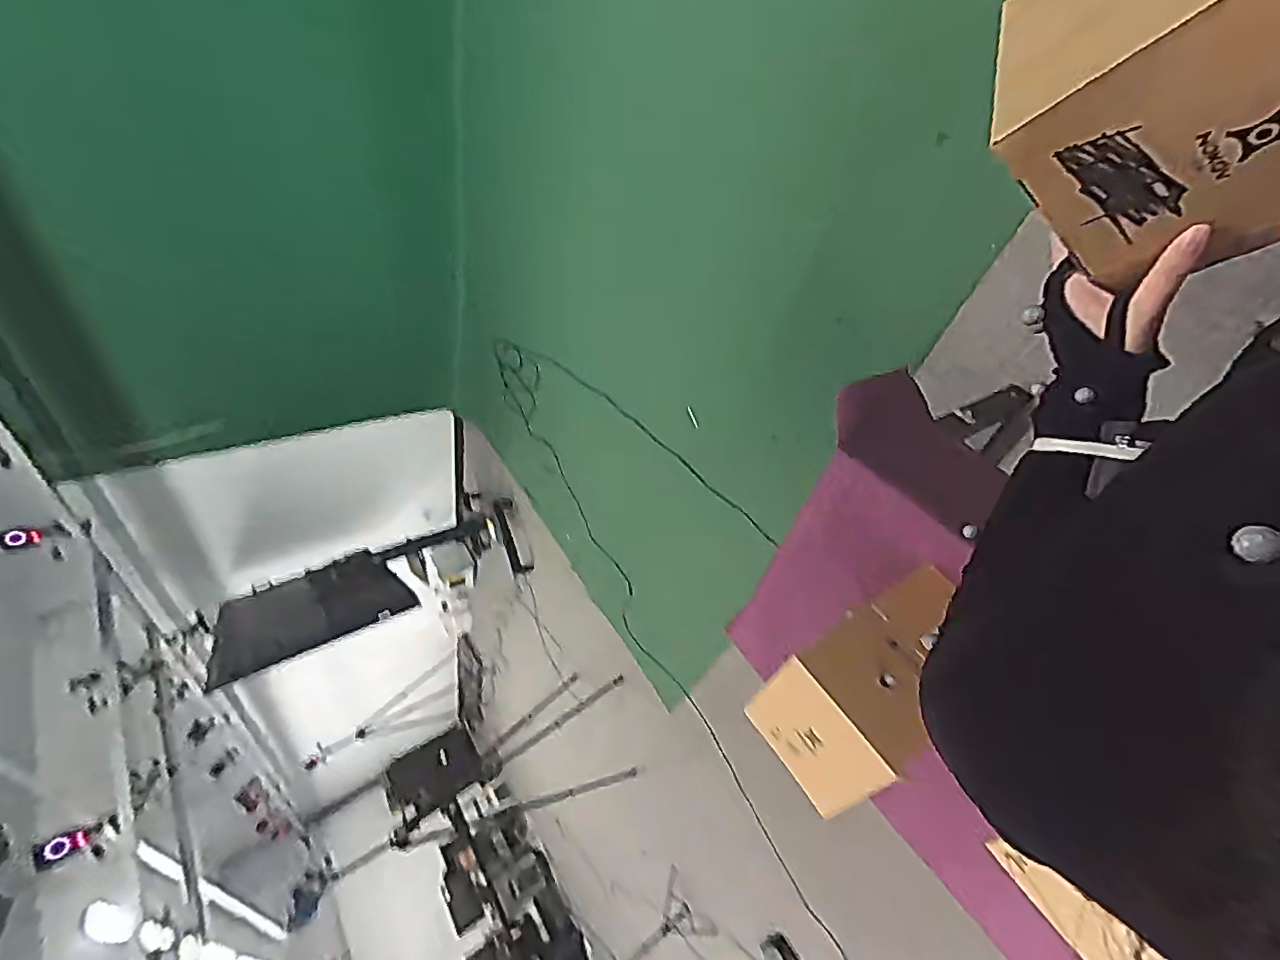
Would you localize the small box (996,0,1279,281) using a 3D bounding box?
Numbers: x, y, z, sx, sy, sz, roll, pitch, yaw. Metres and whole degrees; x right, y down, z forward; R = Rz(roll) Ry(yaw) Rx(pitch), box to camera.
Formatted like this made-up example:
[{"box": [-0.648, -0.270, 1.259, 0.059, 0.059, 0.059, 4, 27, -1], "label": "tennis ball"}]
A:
[{"box": [0.351, -0.267, 0.326, 0.179, 0.168, 0.176, -17, 48, 55], "label": "small box"}]

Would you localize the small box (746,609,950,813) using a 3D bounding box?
[{"box": [0.284, 0.306, 0.739, 0.168, 0.176, 0.179, 50, 141, 29], "label": "small box"}]
